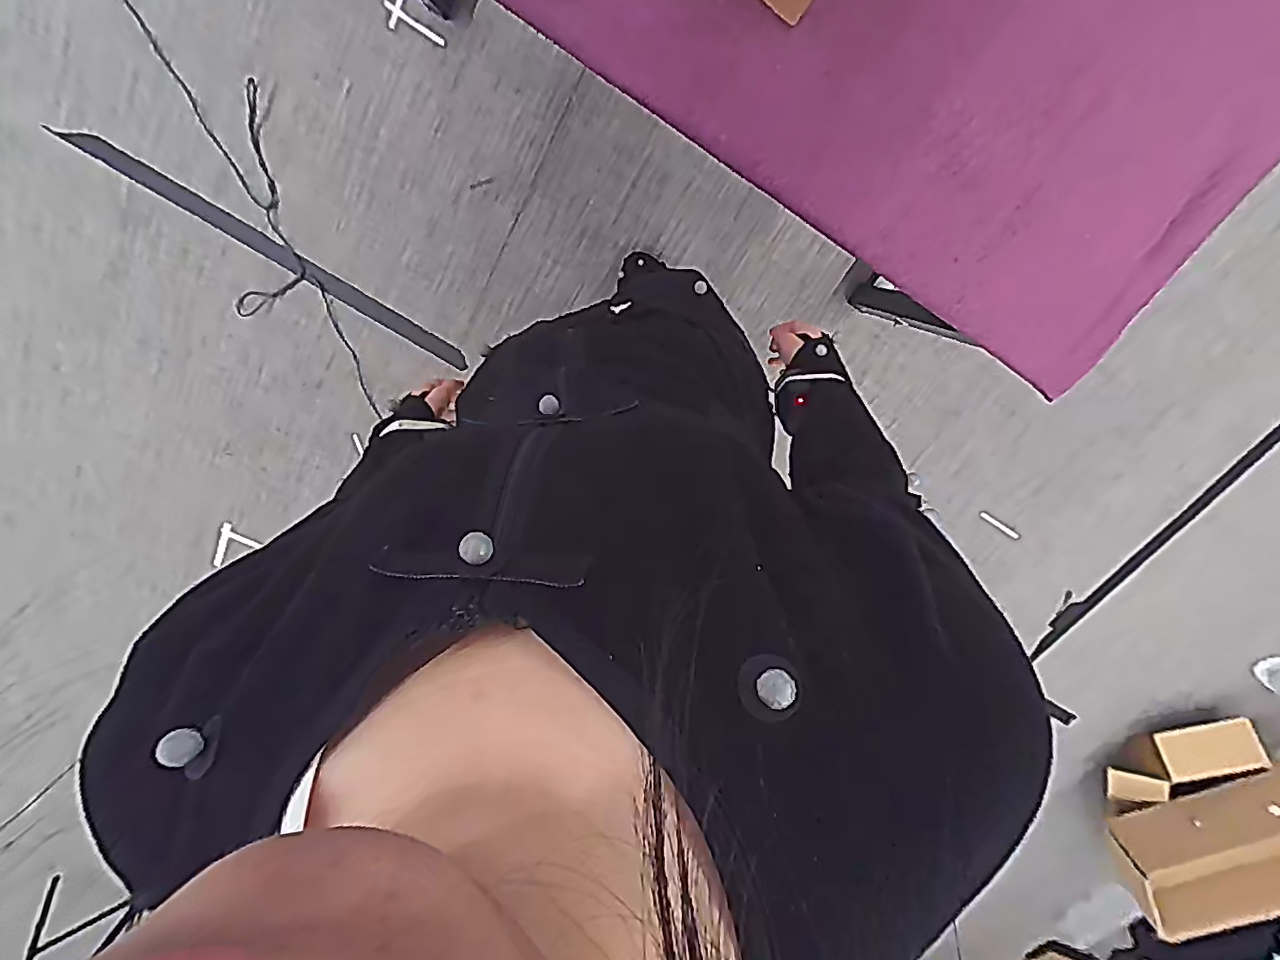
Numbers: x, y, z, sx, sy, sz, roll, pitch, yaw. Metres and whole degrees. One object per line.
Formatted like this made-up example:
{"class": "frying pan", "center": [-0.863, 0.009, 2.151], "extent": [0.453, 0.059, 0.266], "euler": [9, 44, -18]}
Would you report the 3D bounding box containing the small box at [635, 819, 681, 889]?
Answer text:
{"class": "small box", "center": [0.068, 1.453, 2.109], "extent": [0.168, 0.176, 0.179], "euler": [-5, 115, 4]}
